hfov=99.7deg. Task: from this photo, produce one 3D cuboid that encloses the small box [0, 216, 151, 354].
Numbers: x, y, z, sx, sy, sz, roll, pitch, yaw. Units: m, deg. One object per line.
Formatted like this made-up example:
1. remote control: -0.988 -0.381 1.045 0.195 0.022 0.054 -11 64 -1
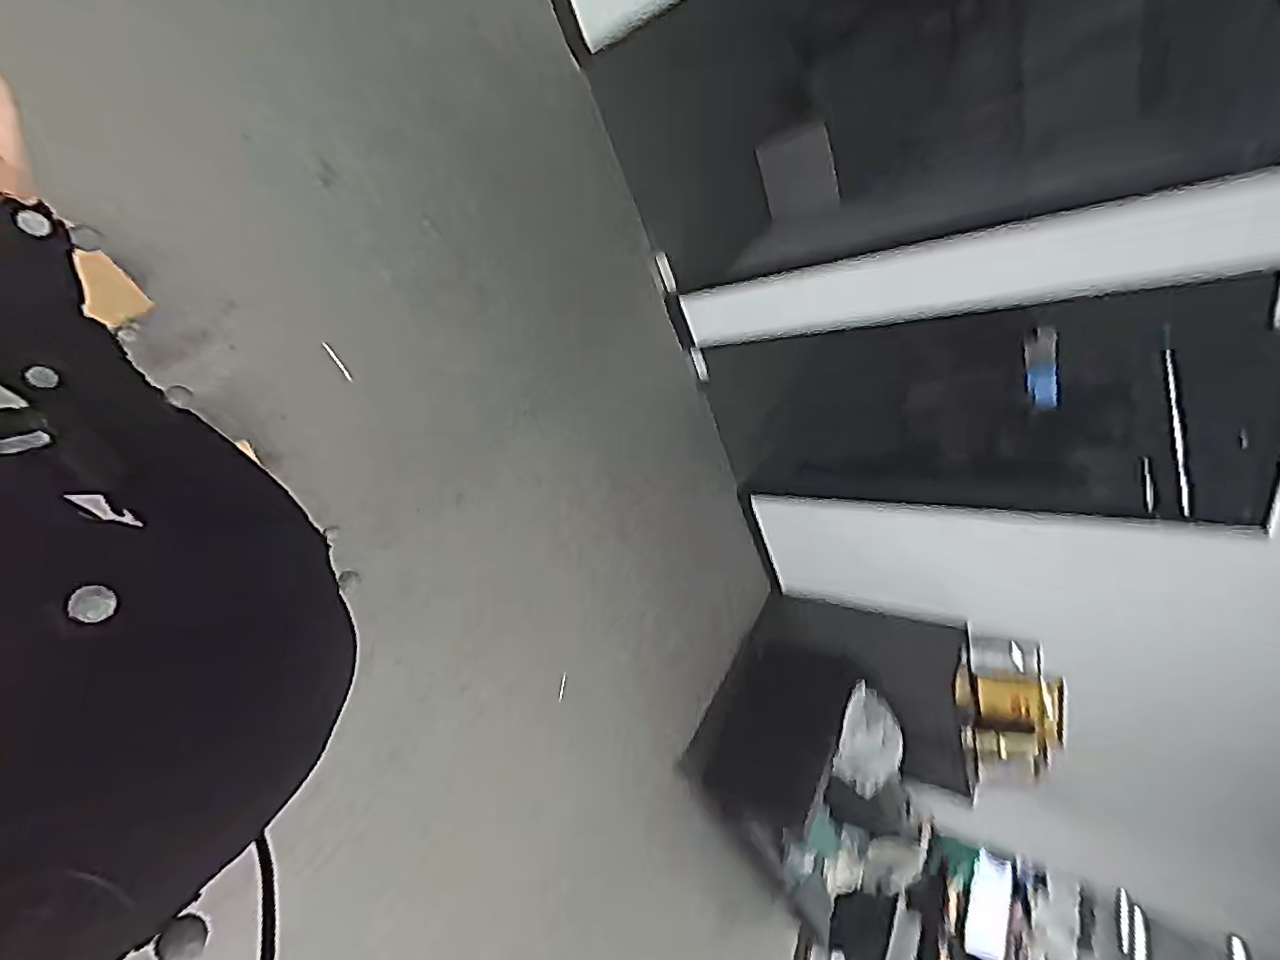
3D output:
1. small box: -1.062 -0.348 0.983 0.179 0.176 0.168 -54 131 -34
